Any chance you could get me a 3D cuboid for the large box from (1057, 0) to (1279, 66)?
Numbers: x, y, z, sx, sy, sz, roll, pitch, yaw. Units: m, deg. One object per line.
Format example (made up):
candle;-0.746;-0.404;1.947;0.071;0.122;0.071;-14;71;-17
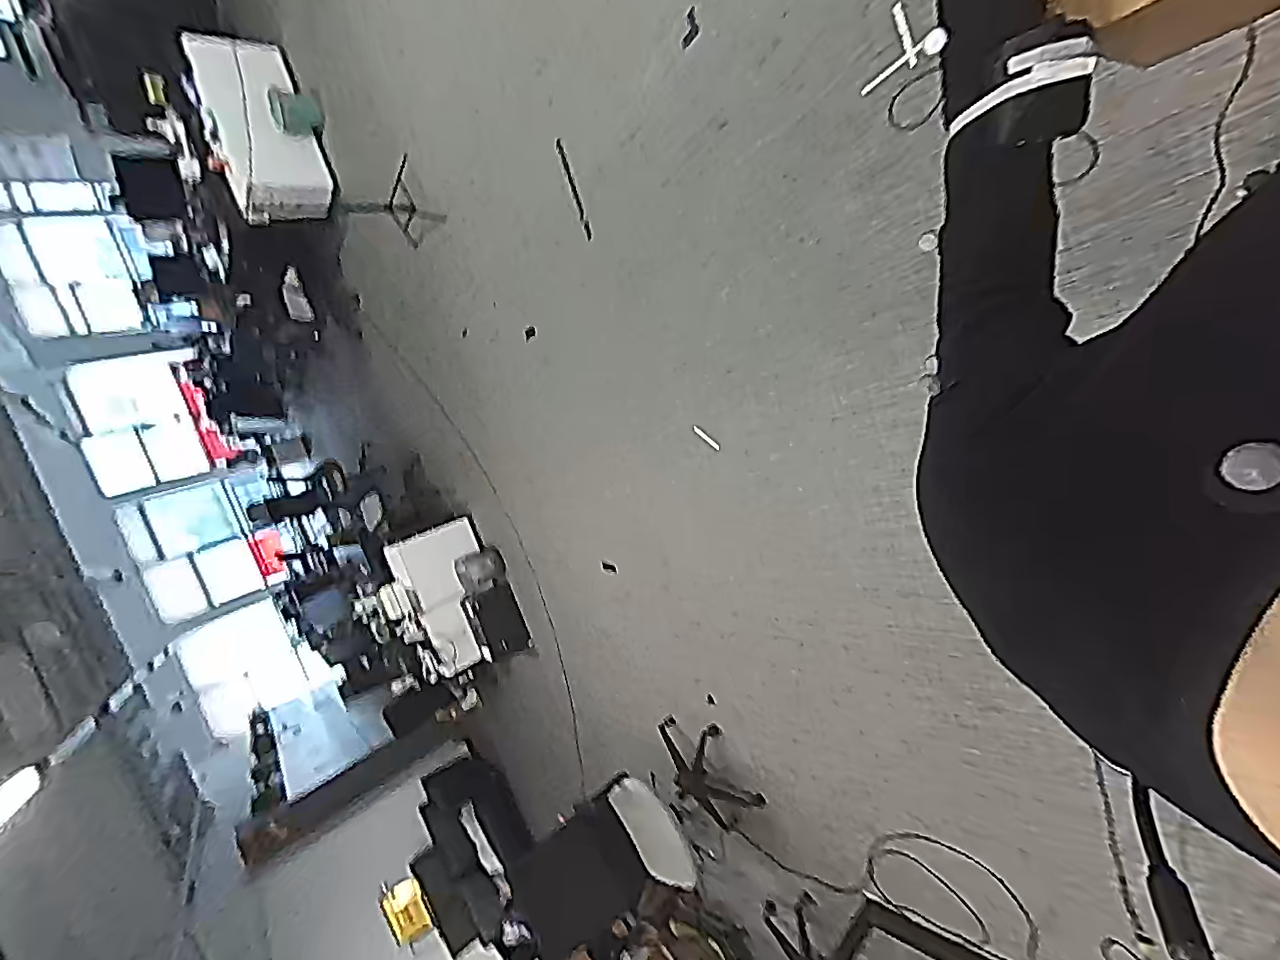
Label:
large box;0.476;-0.507;0.277;0.408;0.320;0.320;-2;112;52
